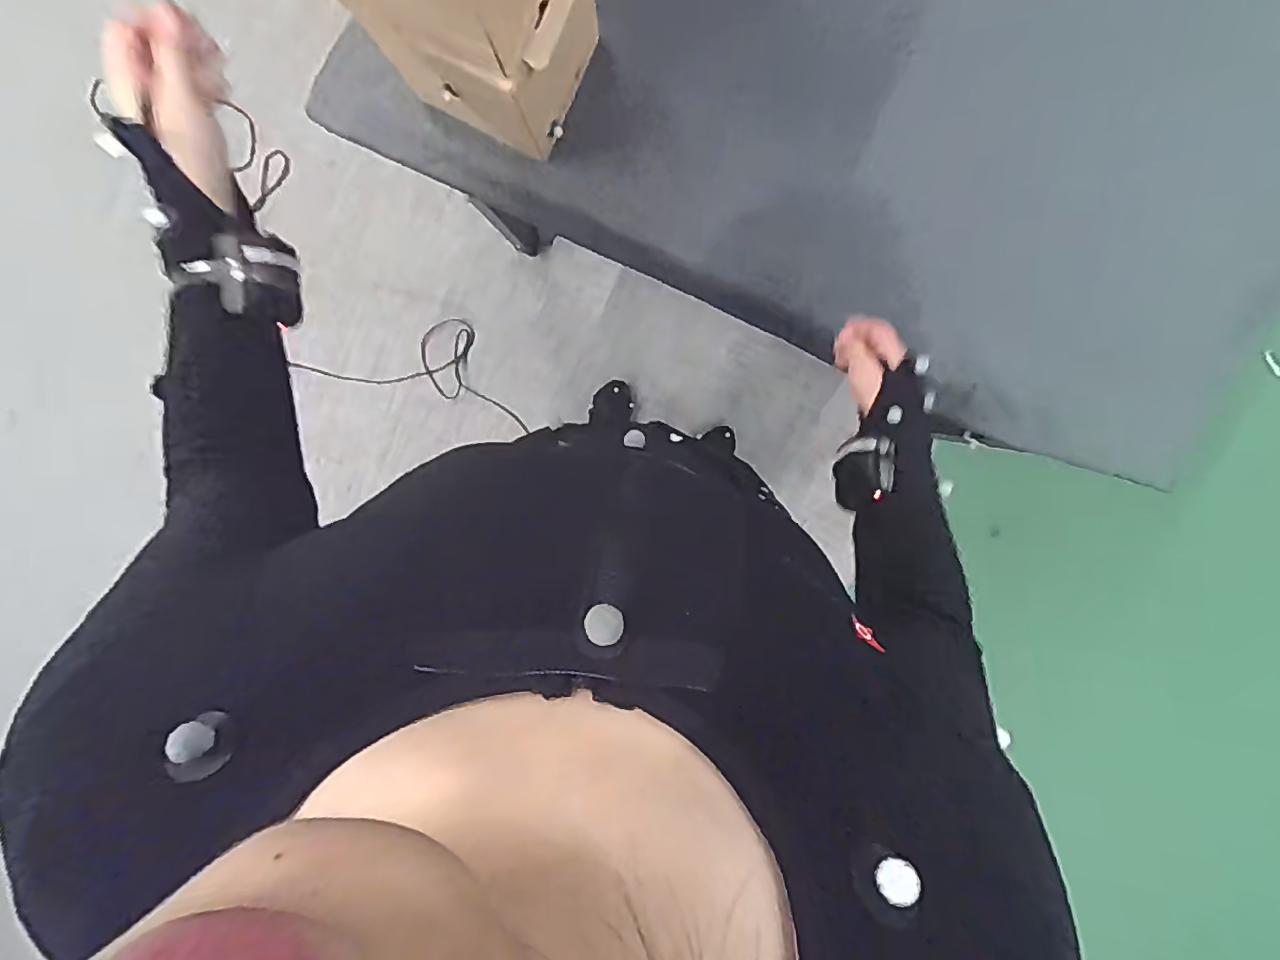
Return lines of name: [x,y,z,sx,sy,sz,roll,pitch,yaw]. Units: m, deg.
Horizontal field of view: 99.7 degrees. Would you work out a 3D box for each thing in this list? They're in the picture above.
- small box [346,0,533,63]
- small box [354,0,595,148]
small box: [-0.180,-0.487,0.430,0.179,0.176,0.168,21,99,-2]
small box: [-0.163,-0.503,0.591,0.179,0.176,0.168,26,99,-2]
